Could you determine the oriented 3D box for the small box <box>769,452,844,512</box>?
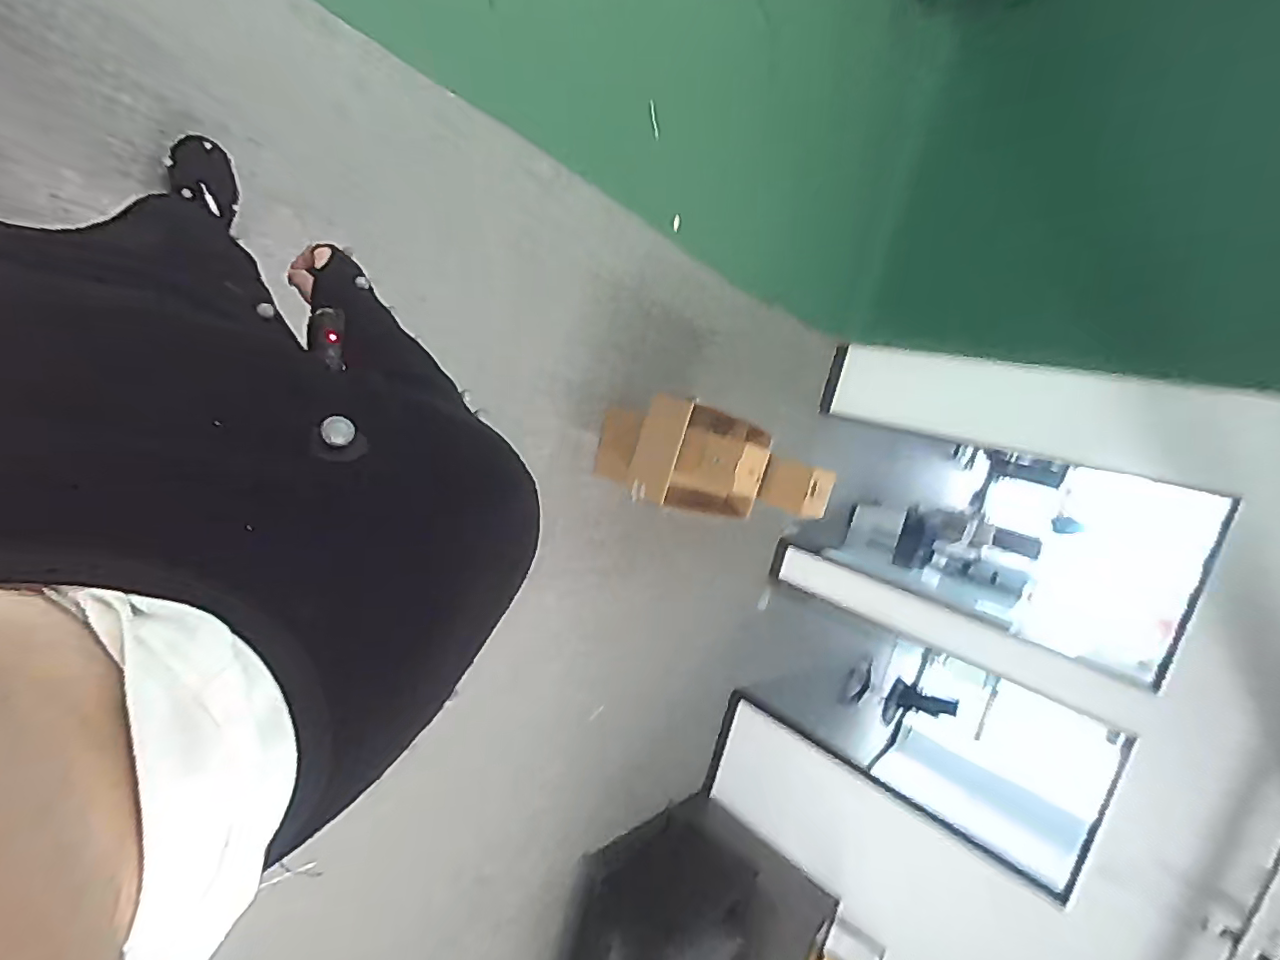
[{"bbox_3d":[0.575,0.005,1.885,0.179,0.176,0.168,6,102,-46],"label":"small box"}]

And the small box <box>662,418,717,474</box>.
[{"bbox_3d":[0.211,-0.115,1.930,0.179,0.176,0.168,11,98,-50],"label":"small box"}]

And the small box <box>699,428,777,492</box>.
[{"bbox_3d":[0.327,-0.070,1.825,0.179,0.176,0.168,11,99,-49],"label":"small box"}]
